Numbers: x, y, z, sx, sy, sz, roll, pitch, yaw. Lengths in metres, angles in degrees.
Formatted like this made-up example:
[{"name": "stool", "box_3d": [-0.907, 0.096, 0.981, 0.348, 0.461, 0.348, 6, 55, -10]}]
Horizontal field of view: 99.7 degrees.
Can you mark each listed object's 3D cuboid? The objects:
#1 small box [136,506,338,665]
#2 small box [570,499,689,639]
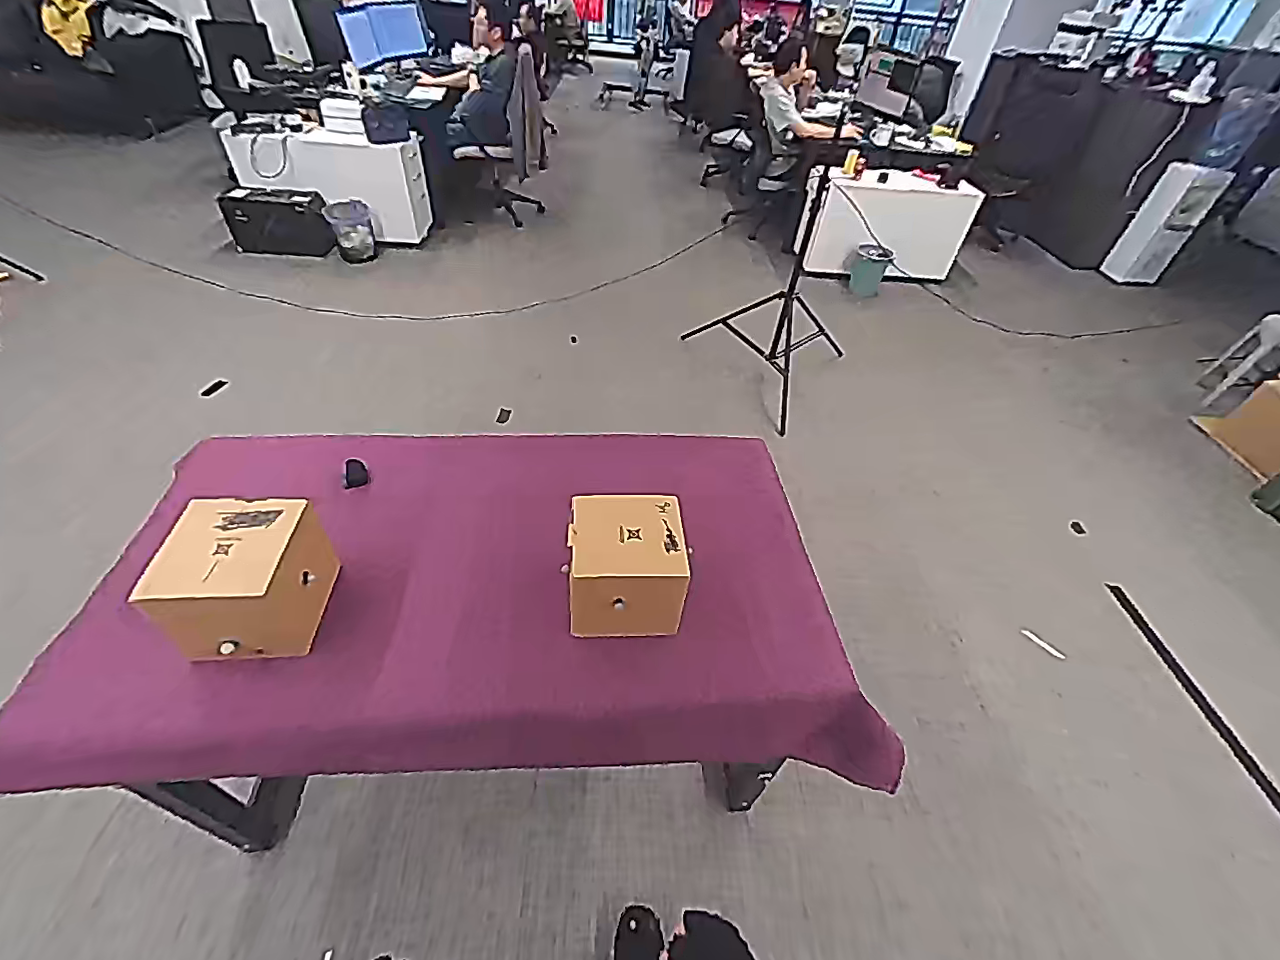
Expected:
[{"name": "small box", "box_3d": [-0.583, 0.158, 0.817, 0.168, 0.176, 0.179, 0, 45, -7]}, {"name": "small box", "box_3d": [-0.022, 0.148, 0.891, 0.179, 0.176, 0.168, -1, 44, -5]}]
